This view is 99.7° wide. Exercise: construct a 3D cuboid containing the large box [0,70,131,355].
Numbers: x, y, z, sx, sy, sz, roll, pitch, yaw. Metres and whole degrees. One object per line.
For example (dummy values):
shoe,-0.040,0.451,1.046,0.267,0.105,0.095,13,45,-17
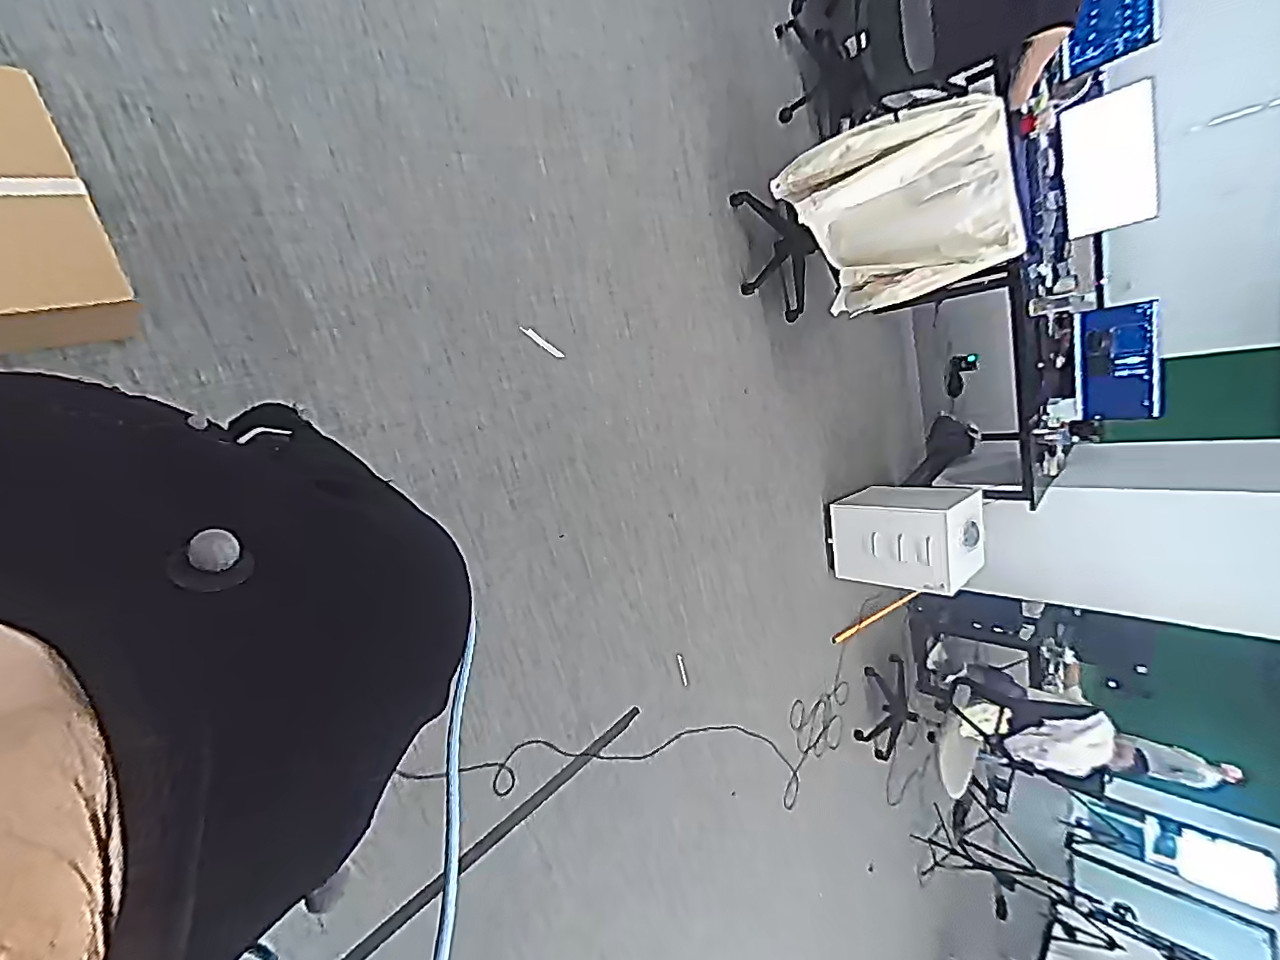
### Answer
large box,-1.041,-0.343,0.757,0.408,0.320,0.320,-28,110,-40
